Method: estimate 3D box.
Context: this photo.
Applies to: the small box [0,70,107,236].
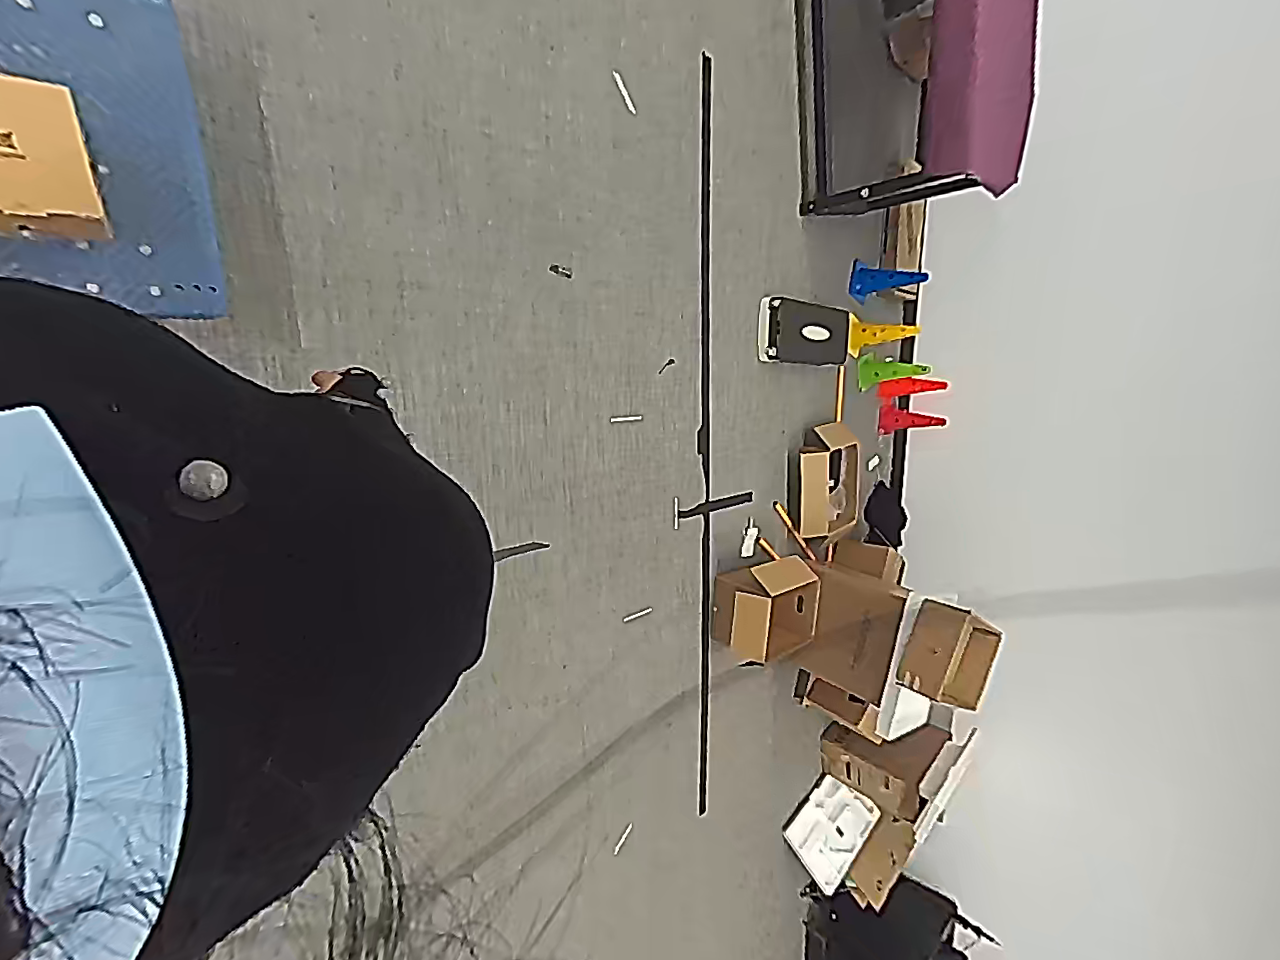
[{"bbox_3d":[-0.915,-0.473,0.789,0.168,0.176,0.179,-16,109,-40],"label":"small box"}]
